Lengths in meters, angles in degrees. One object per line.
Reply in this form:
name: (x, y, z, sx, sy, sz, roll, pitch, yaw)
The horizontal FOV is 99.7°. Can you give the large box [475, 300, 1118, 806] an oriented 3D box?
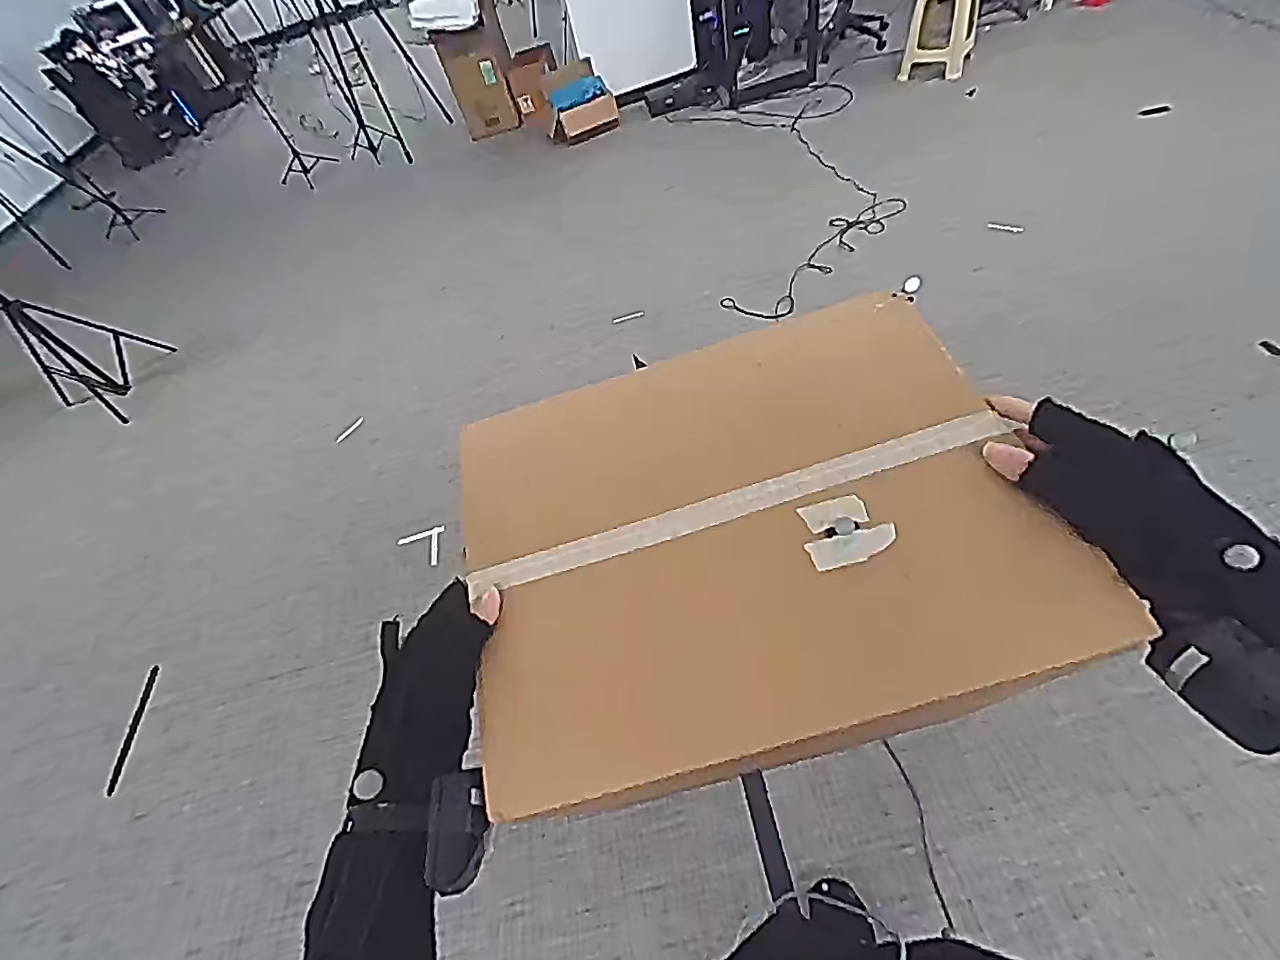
large box: (0.098, 0.096, 0.539, 0.408, 0.320, 0.320, -18, 59, 2)
